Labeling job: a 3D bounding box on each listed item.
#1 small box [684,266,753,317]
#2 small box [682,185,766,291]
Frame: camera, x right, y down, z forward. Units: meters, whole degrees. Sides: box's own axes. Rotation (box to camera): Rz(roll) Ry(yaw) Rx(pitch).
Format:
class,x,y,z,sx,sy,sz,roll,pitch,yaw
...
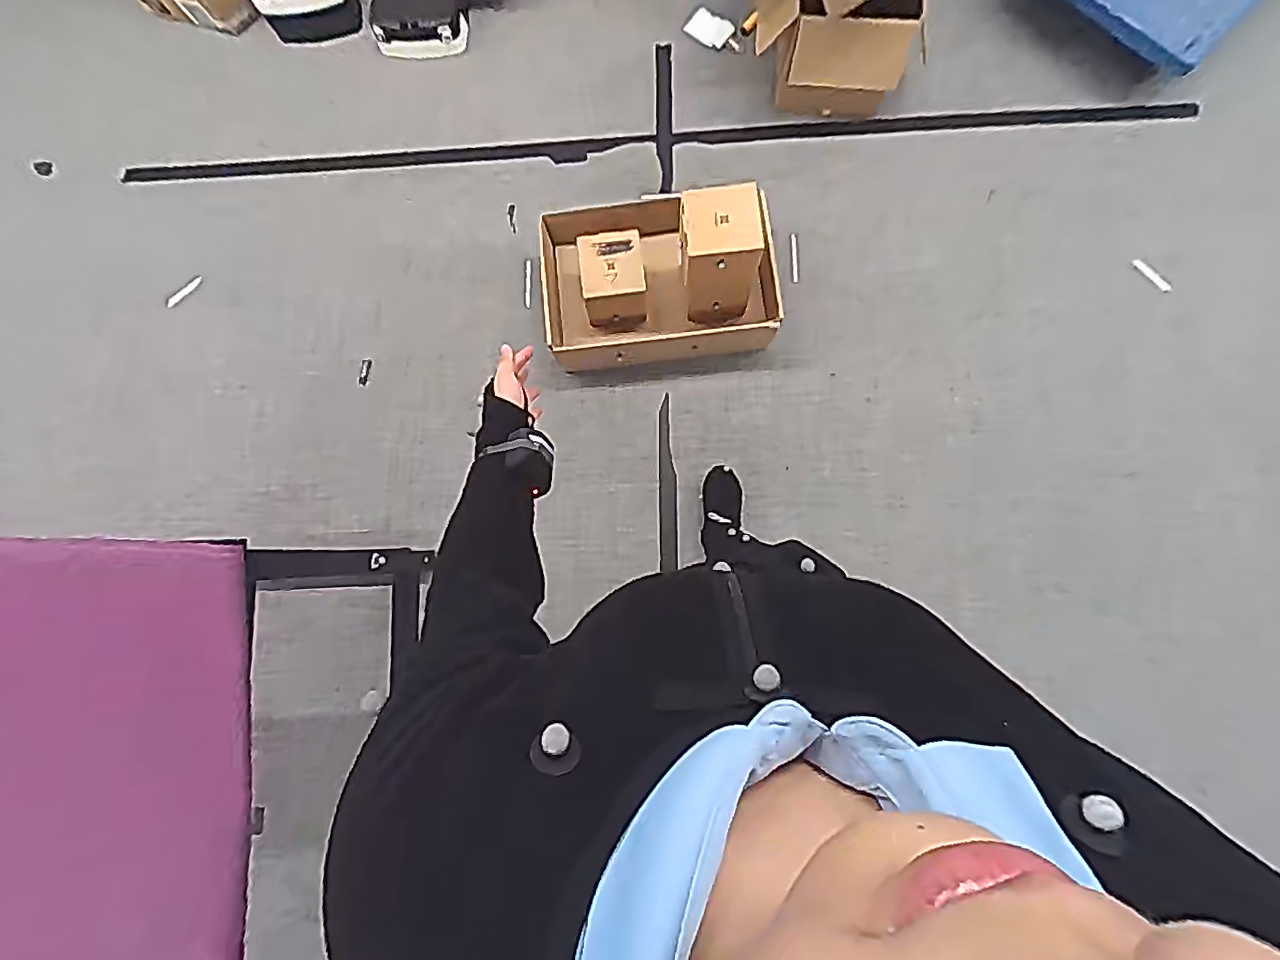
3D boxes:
class,x,y,z,sx,sy,sz,roll,pitch,yaw
small box,0.208,-0.559,1.473,0.168,0.176,0.179,-5,81,2
small box,0.196,-0.580,1.312,0.179,0.176,0.168,-5,82,3
